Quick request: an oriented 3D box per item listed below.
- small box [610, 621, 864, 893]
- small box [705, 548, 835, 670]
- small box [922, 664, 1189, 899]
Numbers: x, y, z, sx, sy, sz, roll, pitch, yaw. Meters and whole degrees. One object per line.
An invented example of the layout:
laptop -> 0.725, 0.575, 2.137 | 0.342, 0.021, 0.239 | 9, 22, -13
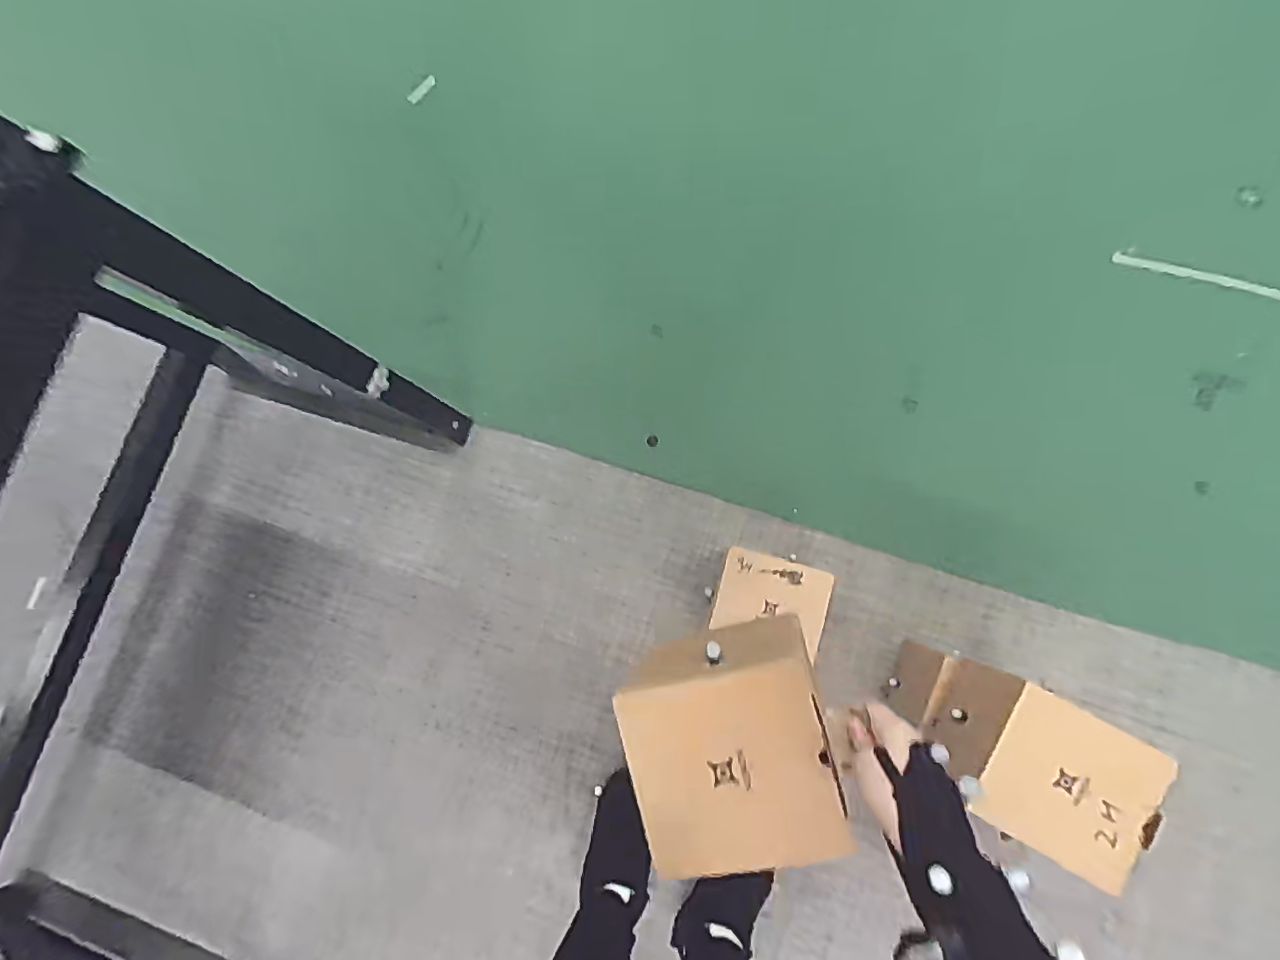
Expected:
small box -> 0.091, 0.247, 0.519 | 0.179, 0.176, 0.168 | -16, 85, 11
small box -> 0.204, 0.221, 0.891 | 0.168, 0.176, 0.179 | 15, 82, 9
small box -> 0.490, 0.348, 0.672 | 0.179, 0.176, 0.168 | 28, 86, 10
